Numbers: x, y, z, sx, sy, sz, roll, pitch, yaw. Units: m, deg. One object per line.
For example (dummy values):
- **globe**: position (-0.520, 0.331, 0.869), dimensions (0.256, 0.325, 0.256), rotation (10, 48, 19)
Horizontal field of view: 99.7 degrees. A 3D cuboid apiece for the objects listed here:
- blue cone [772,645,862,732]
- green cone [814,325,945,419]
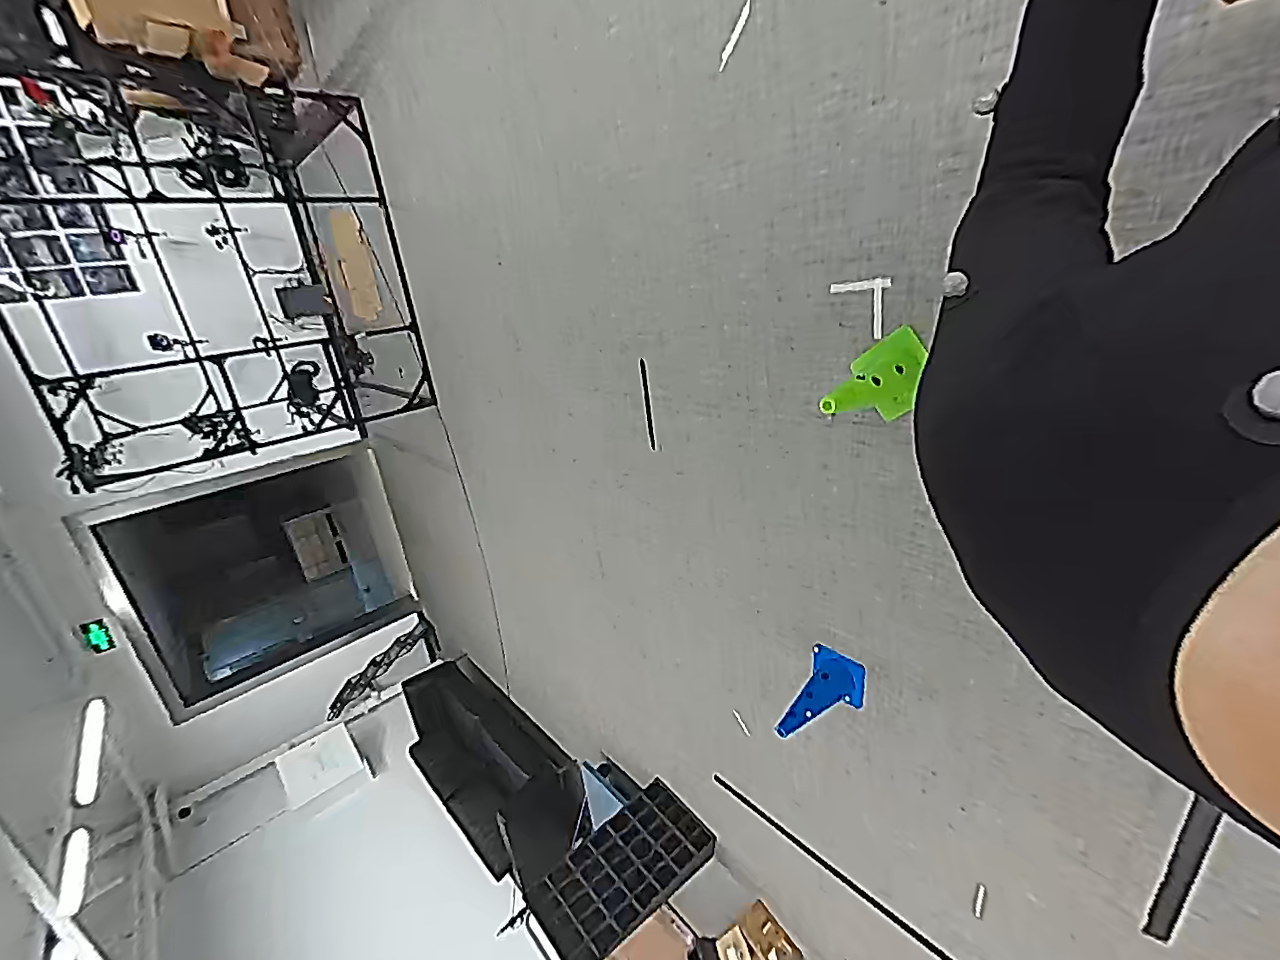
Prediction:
- **blue cone**: position (0.599, 0.767, 1.896), dimensions (0.192, 0.380, 0.193), rotation (22, 125, 46)
- **green cone**: position (0.565, -0.235, 1.370), dimensions (0.200, 0.368, 0.202), rotation (61, 145, 10)
